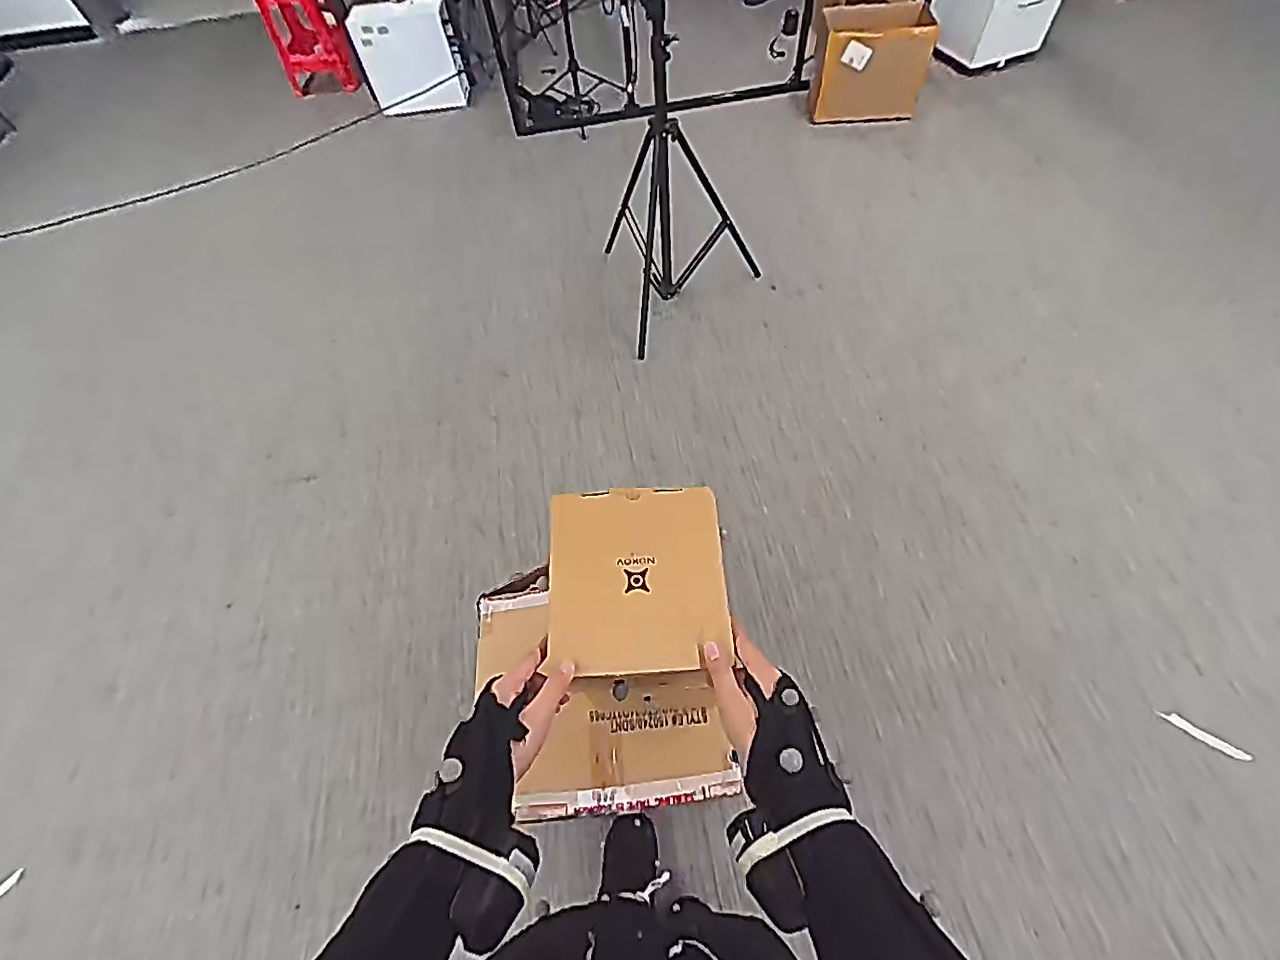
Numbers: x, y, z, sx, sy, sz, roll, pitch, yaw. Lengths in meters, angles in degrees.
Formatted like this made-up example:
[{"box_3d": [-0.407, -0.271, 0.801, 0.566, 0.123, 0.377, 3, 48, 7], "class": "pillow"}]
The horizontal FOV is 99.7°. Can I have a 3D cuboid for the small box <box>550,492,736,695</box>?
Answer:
[{"box_3d": [0.001, 0.129, 0.573, 0.168, 0.176, 0.179, -4, 63, -1], "class": "small box"}]

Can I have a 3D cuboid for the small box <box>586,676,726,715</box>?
[{"box_3d": [0.020, 0.232, 0.766, 0.179, 0.176, 0.168, -4, 60, 1], "class": "small box"}]
